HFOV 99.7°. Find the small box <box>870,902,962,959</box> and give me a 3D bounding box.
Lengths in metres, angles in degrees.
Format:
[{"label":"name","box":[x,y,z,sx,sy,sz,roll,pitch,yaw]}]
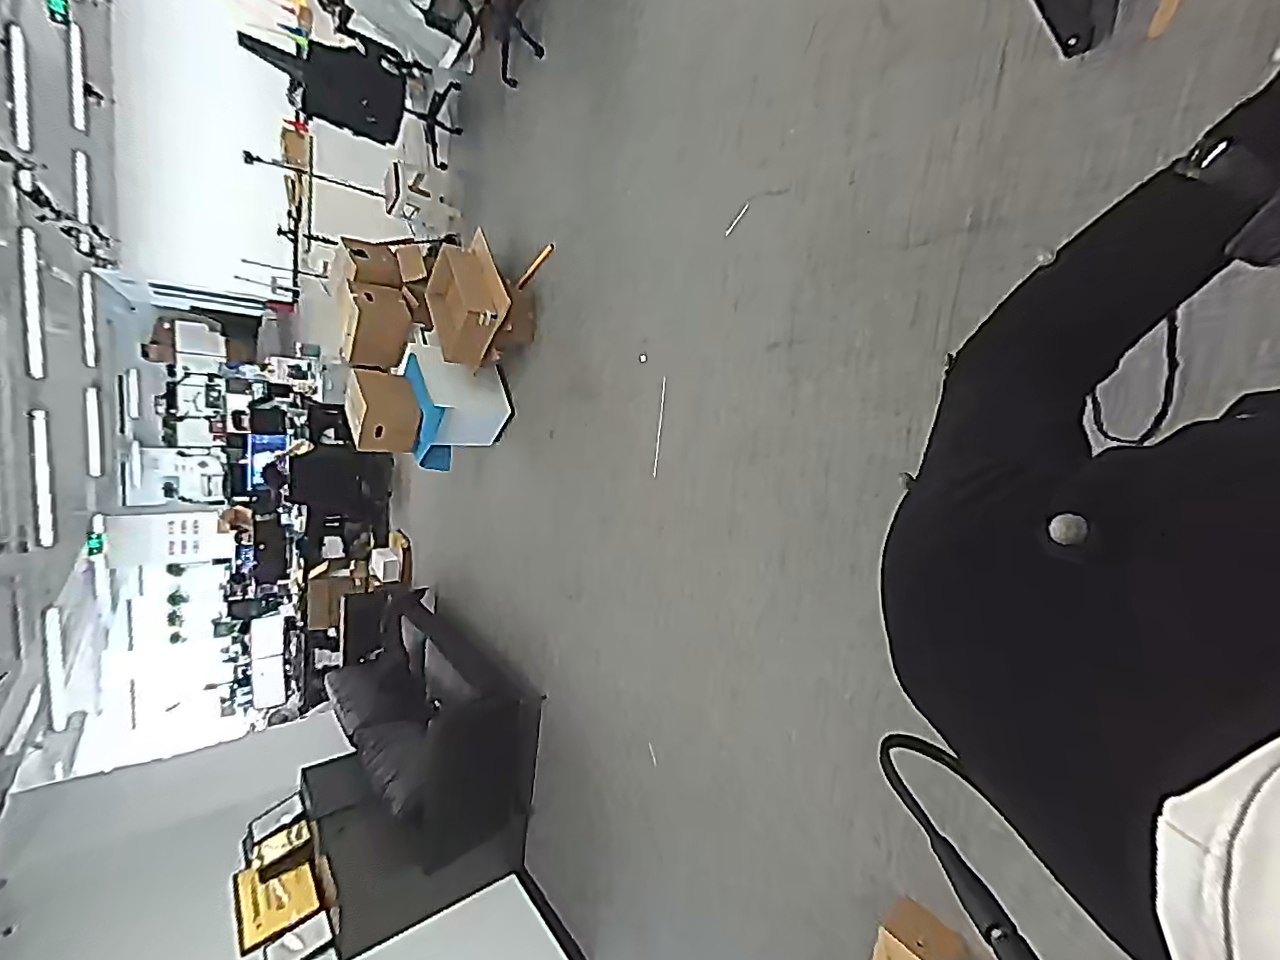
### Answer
[{"label":"small box","box":[0.792,1.376,1.552,0.179,0.176,0.168,19,104,49]}]
